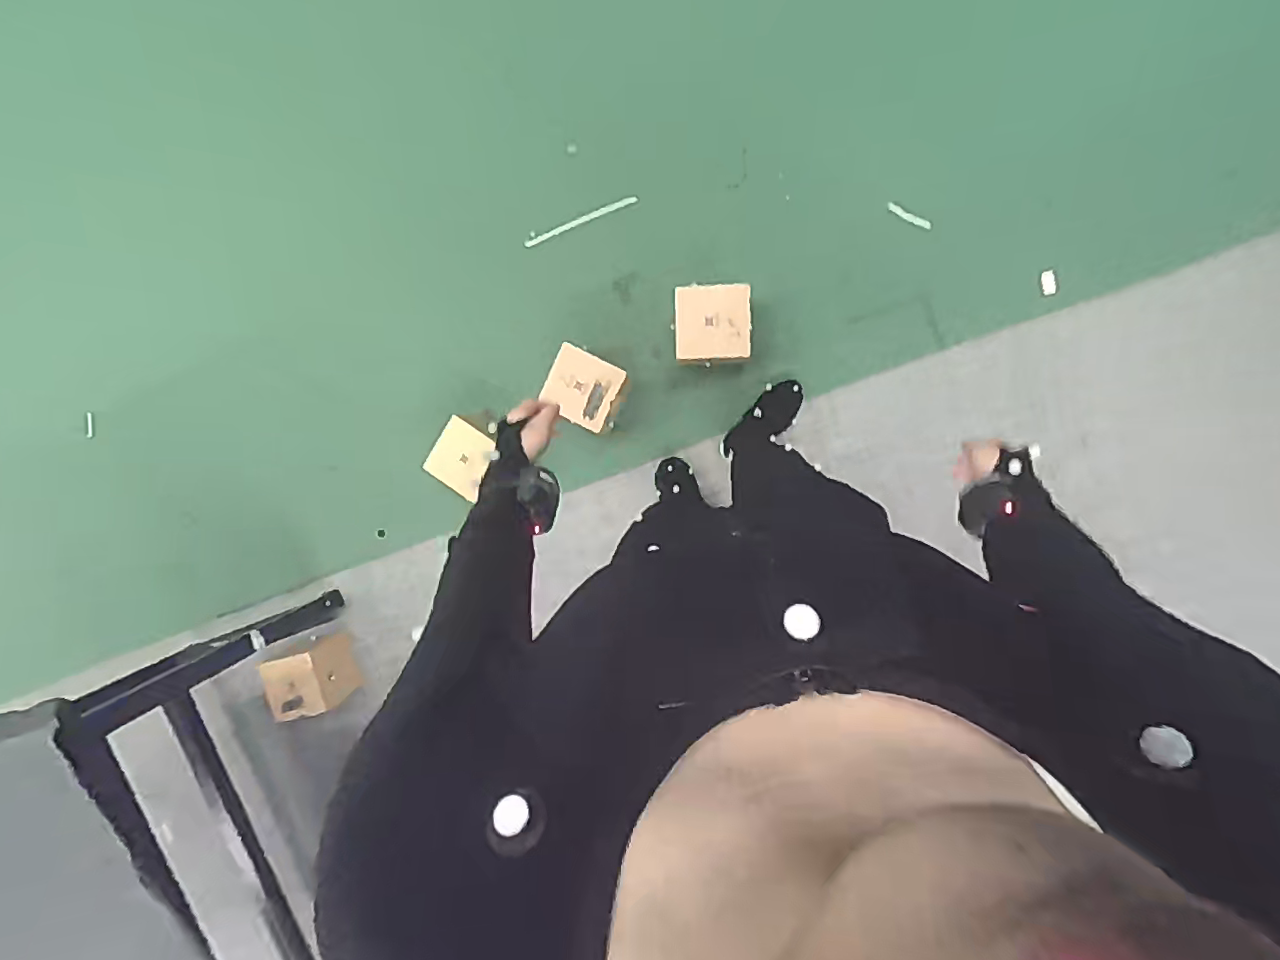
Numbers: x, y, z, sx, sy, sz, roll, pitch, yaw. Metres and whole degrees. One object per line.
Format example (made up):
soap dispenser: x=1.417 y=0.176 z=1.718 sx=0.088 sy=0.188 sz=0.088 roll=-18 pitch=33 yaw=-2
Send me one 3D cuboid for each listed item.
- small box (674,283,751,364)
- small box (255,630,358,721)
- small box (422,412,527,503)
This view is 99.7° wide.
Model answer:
small box: x=0.176 y=-0.377 z=1.328 sx=0.179 sy=0.176 sz=0.168 roll=-1 pitch=97 yaw=5
small box: x=-0.950 y=0.559 z=1.559 sx=0.168 sy=0.176 sz=0.179 roll=-15 pitch=95 yaw=7
small box: x=-0.429 y=-0.063 z=1.431 sx=0.179 sy=0.176 sz=0.168 roll=34 pitch=99 yaw=0
